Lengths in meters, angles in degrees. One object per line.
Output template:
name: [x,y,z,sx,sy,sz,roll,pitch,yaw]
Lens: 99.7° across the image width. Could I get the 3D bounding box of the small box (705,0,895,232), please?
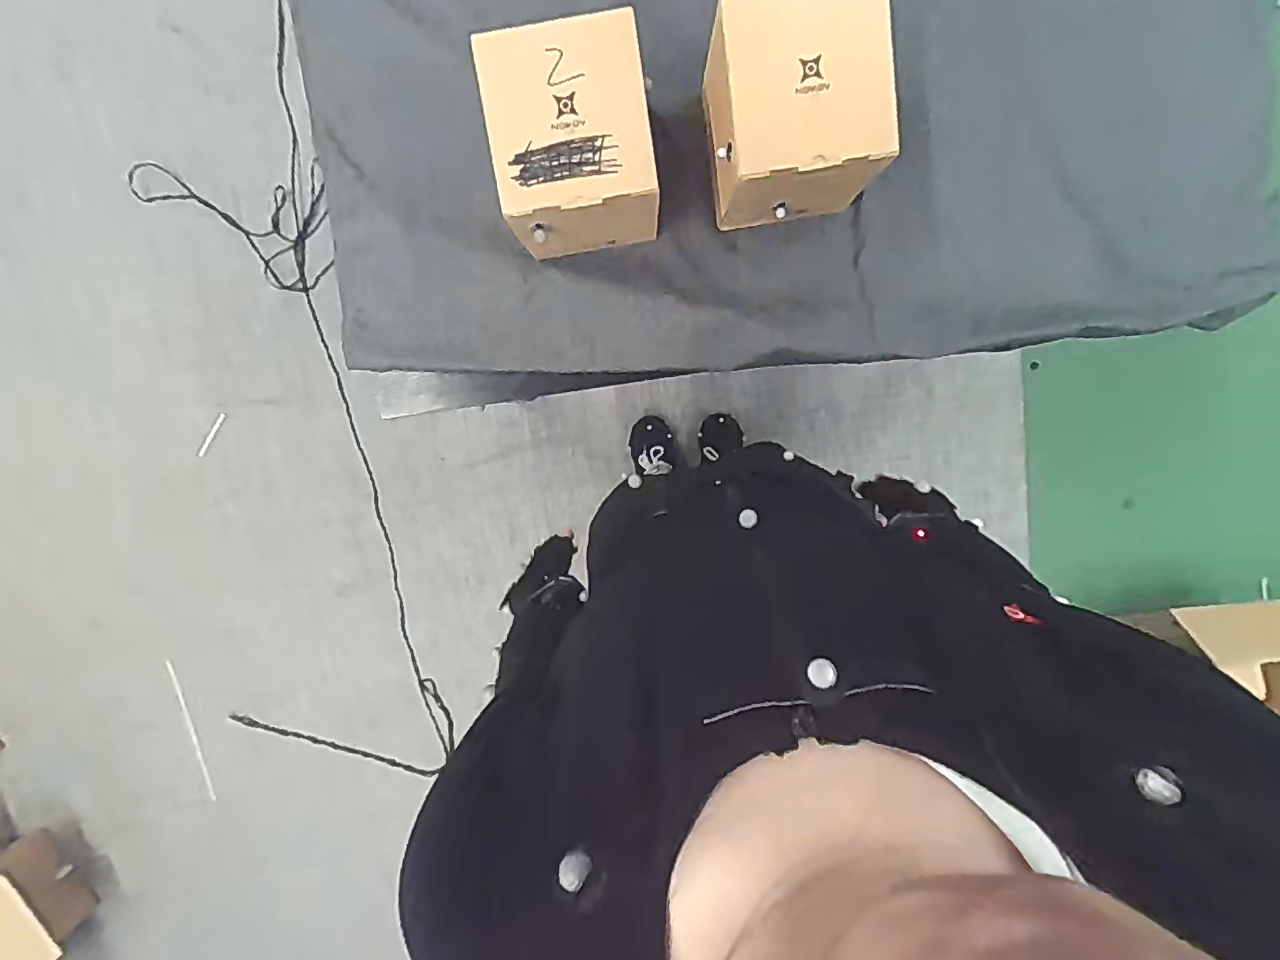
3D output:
small box: [0.175,-0.417,0.635,0.168,0.176,0.179,-8,99,2]
